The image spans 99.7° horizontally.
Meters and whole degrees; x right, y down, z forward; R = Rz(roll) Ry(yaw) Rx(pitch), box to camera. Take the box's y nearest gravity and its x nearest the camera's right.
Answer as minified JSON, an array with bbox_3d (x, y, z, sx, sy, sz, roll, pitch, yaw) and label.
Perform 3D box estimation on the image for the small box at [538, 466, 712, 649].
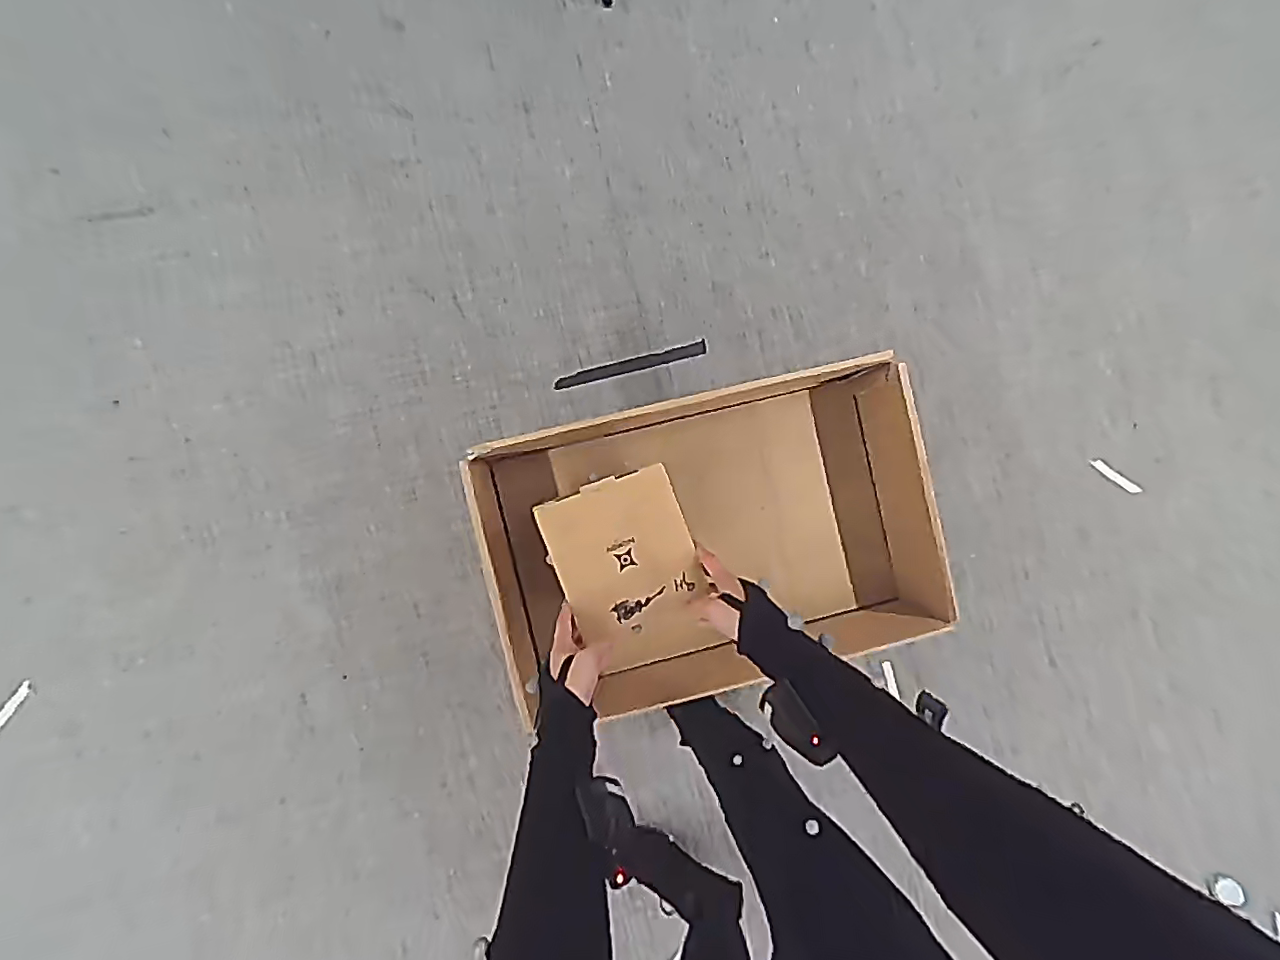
[{"bbox_3d":[-0.026,0.093,0.718,0.168,0.176,0.179,-21,92,-6],"label":"small box"}]
